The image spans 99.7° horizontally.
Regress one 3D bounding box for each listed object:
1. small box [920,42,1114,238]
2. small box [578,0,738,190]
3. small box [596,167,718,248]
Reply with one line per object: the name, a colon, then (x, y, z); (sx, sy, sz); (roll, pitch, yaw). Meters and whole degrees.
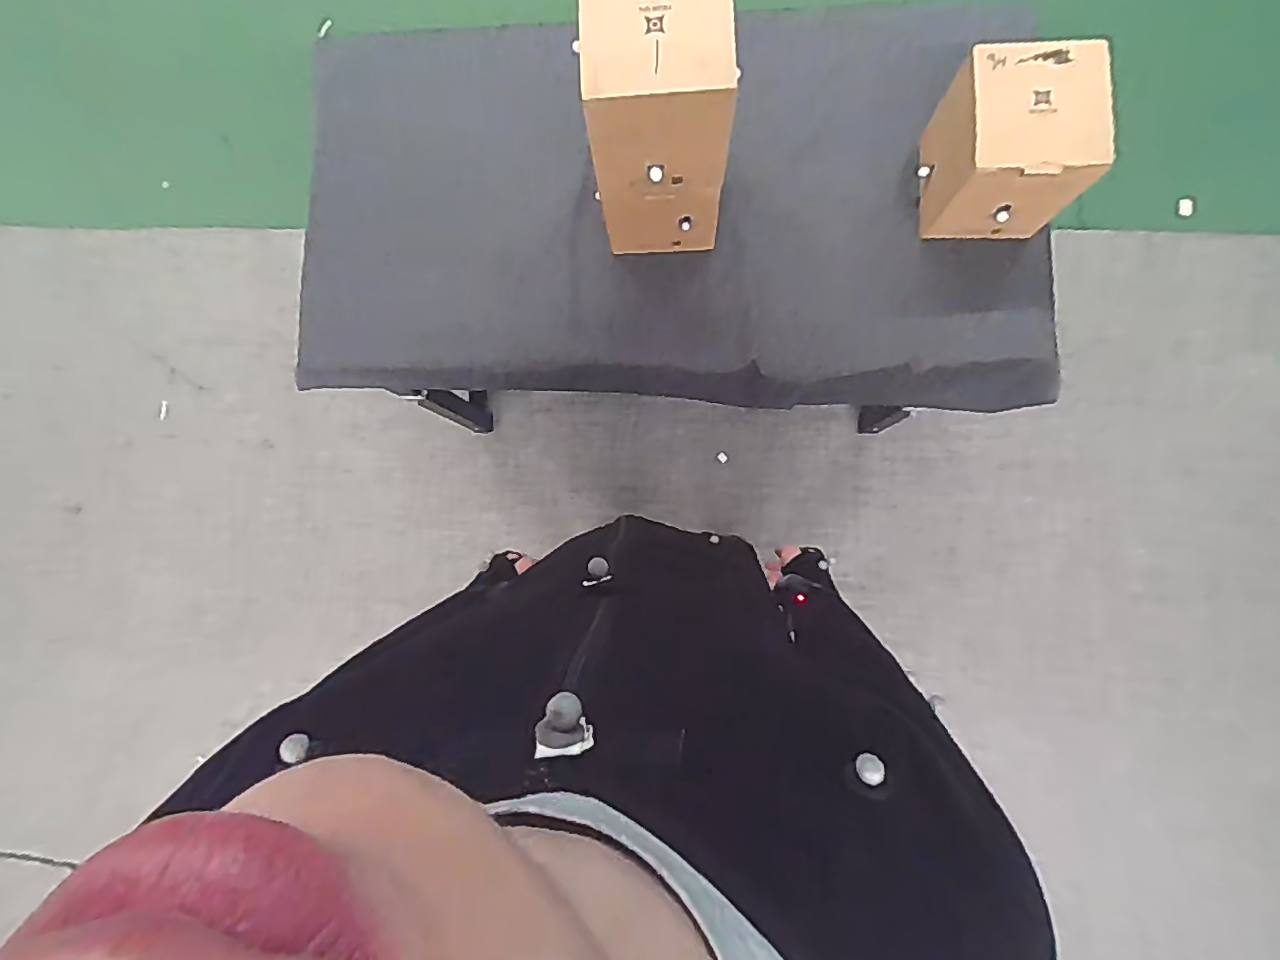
small box: (0.513, -0.461, 0.759); (0.168, 0.176, 0.179); (3, 85, 5)
small box: (0.020, -0.474, 0.633); (0.168, 0.176, 0.179); (-2, 86, 3)
small box: (0.028, -0.460, 0.796); (0.168, 0.176, 0.179); (-1, 83, 3)
